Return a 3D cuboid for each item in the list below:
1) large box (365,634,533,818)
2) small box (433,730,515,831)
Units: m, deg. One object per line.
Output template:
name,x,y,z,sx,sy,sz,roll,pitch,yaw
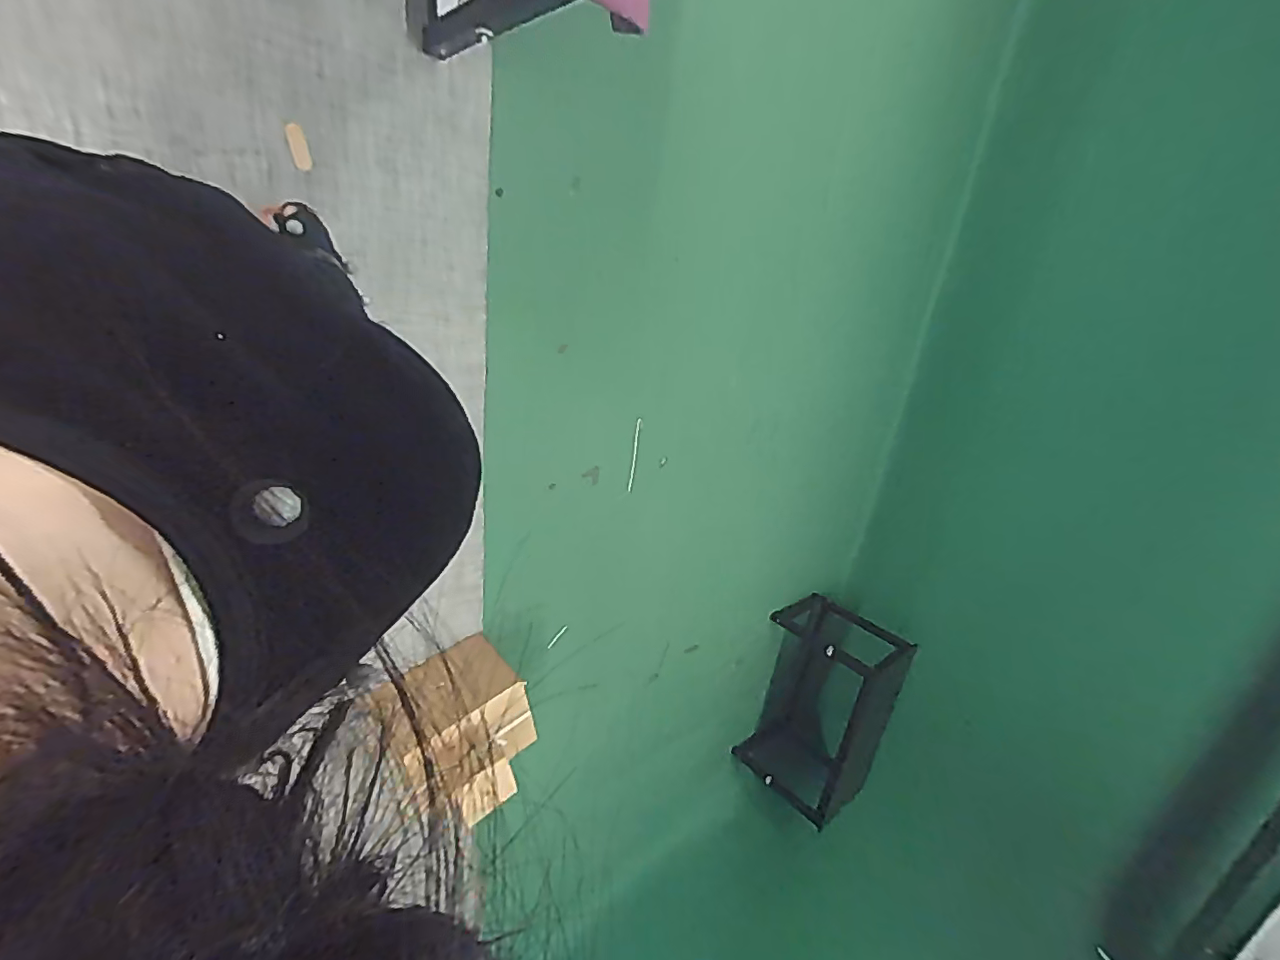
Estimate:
large box,-0.632,0.805,1.821,0.408,0.320,0.320,-27,128,-34
small box,-0.502,0.890,1.626,0.168,0.176,0.179,-26,125,-34
